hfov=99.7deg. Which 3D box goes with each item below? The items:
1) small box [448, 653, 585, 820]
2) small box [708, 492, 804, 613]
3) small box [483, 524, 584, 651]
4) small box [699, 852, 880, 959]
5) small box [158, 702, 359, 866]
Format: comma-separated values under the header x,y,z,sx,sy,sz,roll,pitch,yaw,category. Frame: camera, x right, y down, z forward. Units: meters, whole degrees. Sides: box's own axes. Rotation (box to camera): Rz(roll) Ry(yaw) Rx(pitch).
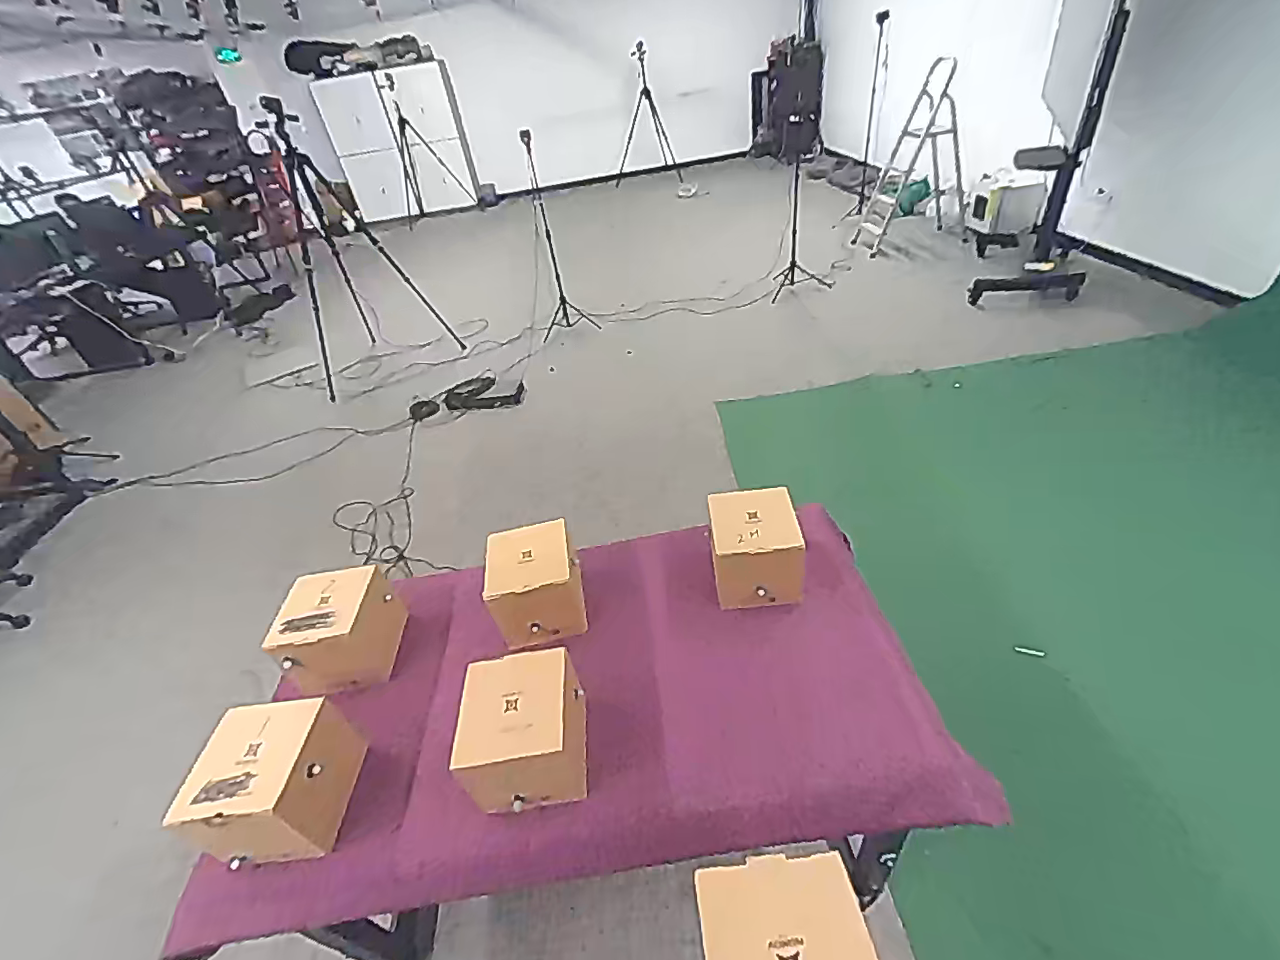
x,y,z,sx,sy,sz,roll,pitch,yaw,category
-0.186,0.411,0.870,0.168,0.176,0.179,-10,38,1,small box
0.231,0.148,1.109,0.168,0.176,0.179,-7,39,5,small box
-0.216,0.221,1.116,0.168,0.176,0.179,-12,39,-4,small box
0.157,0.534,0.564,0.168,0.176,0.179,-8,27,1,small box
-0.579,0.484,0.855,0.168,0.176,0.179,-7,37,2,small box
